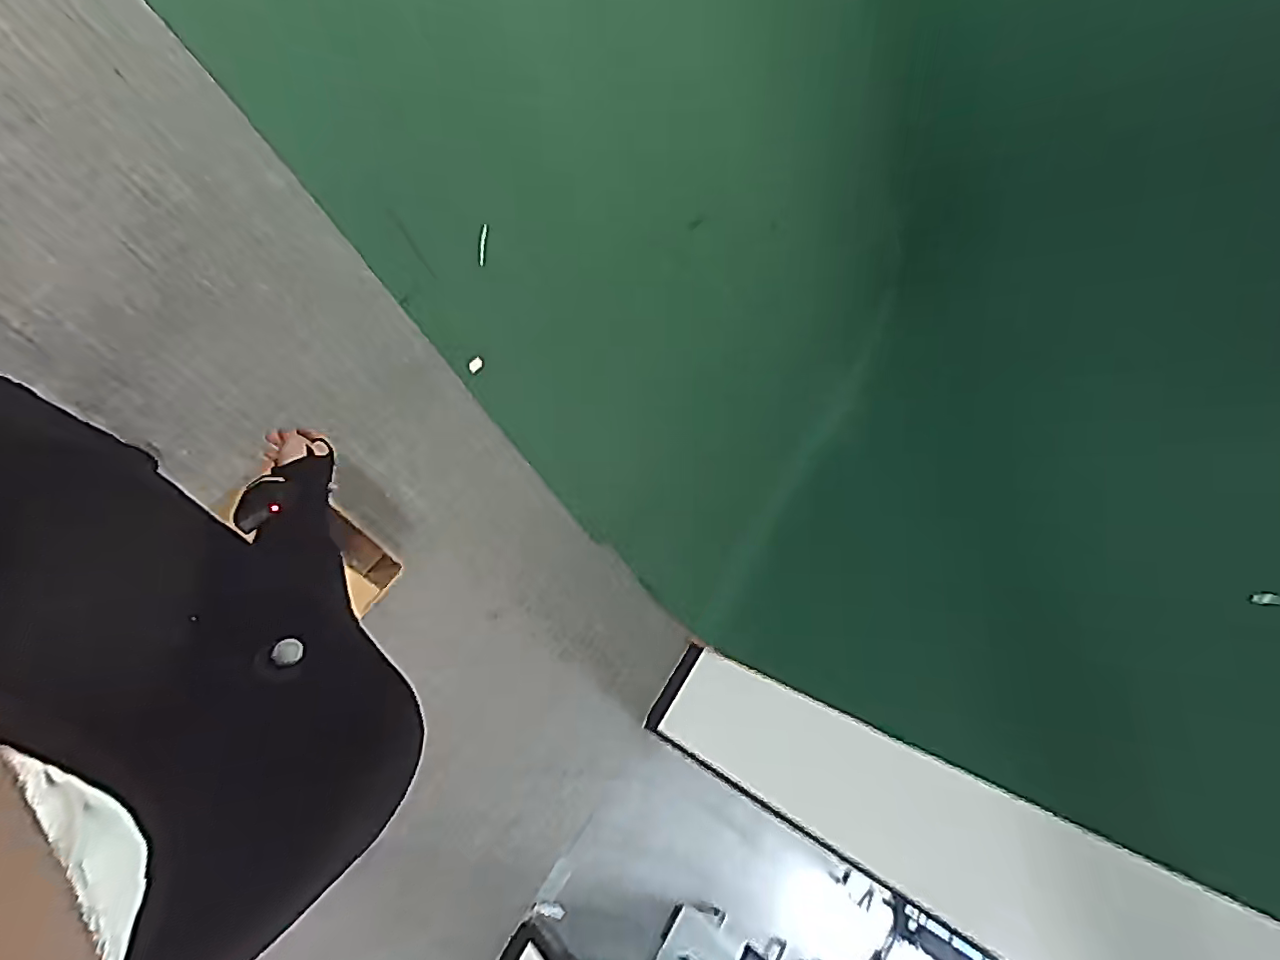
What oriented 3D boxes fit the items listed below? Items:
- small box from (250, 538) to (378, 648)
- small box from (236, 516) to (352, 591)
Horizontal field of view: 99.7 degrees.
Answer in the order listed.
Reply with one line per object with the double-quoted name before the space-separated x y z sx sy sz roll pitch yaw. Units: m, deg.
"small box" -0.758 0.252 1.254 0.168 0.176 0.179 -53 131 -21
"small box" -0.874 0.214 1.361 0.179 0.176 0.168 -50 129 -21
